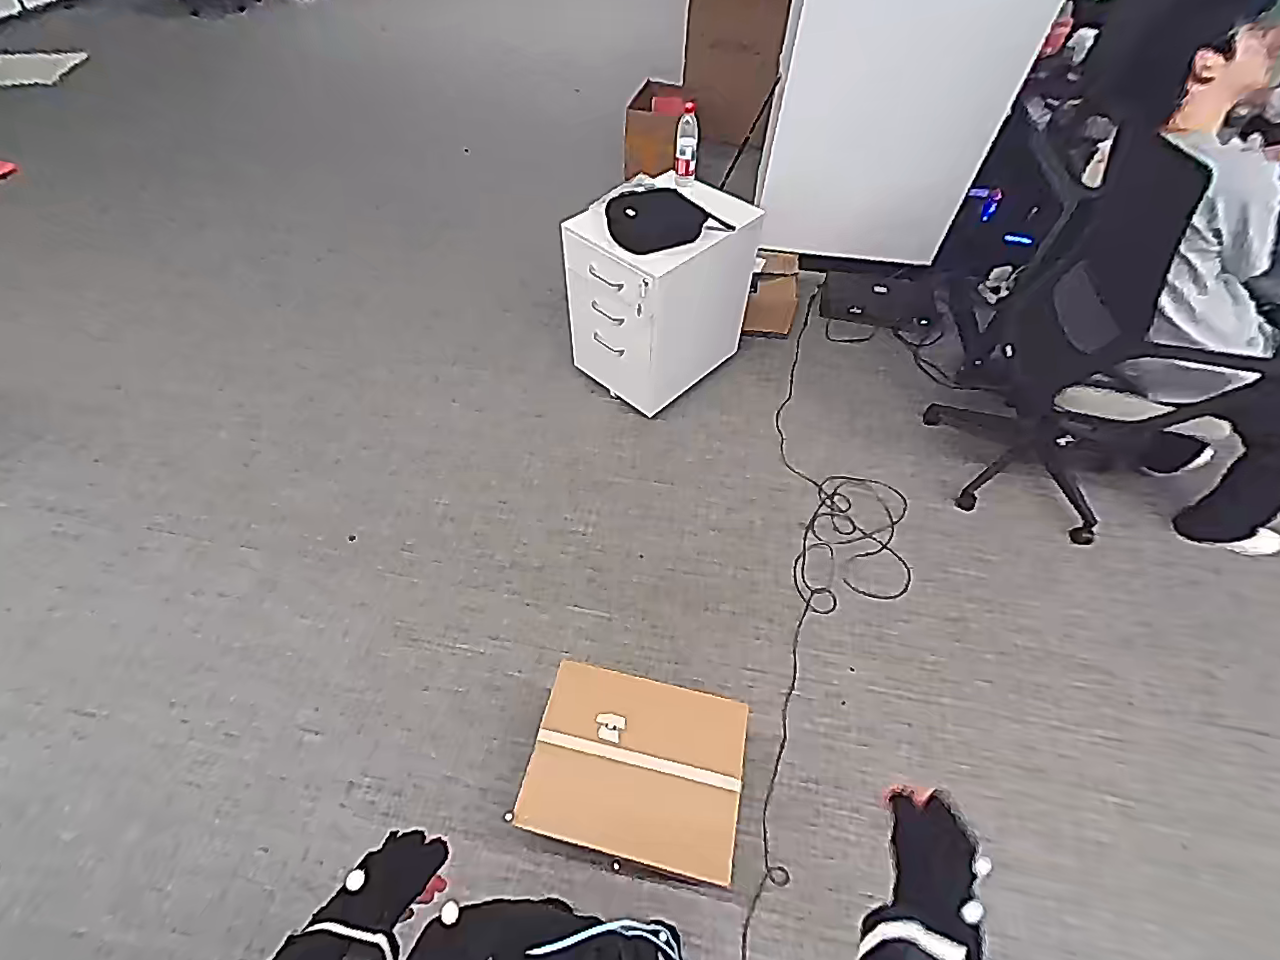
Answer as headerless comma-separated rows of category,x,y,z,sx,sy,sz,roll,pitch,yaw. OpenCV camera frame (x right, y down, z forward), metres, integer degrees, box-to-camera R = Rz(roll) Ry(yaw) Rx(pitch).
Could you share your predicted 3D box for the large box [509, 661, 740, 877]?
large box,-0.016,0.630,1.175,0.408,0.320,0.320,11,54,7
